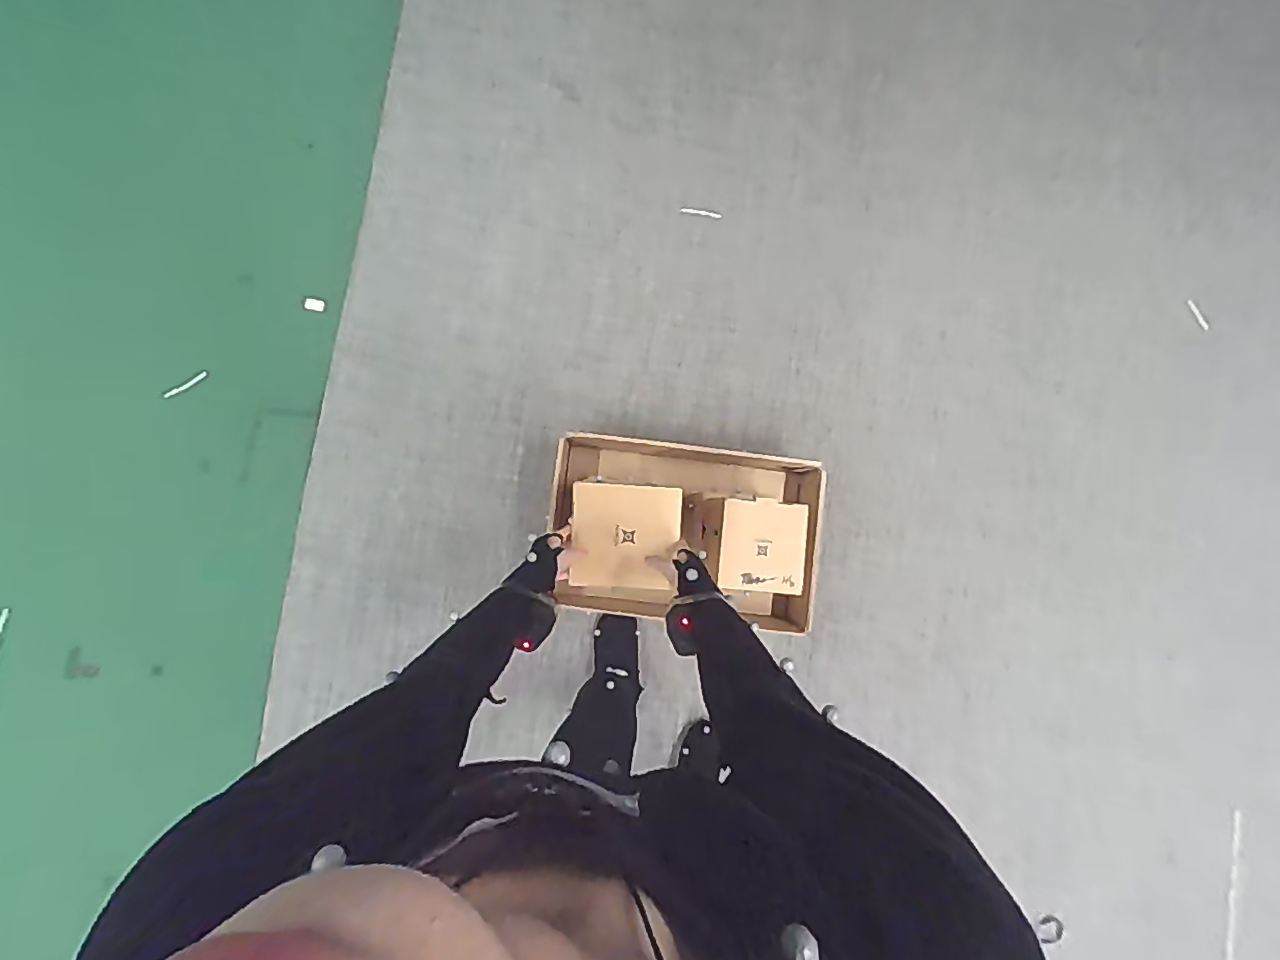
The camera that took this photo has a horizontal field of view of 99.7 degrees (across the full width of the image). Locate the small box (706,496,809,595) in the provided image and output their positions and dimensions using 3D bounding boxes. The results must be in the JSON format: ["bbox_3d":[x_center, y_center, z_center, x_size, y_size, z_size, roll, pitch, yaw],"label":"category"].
[{"bbox_3d":[0.234,0.130,1.111,0.168,0.176,0.179,6,86,-1],"label":"small box"}]

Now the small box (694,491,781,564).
[{"bbox_3d":[0.223,0.114,1.275,0.179,0.176,0.168,2,87,-2],"label":"small box"}]

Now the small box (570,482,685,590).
[{"bbox_3d":[-0.025,0.090,0.934,0.179,0.176,0.168,3,88,-3],"label":"small box"}]
